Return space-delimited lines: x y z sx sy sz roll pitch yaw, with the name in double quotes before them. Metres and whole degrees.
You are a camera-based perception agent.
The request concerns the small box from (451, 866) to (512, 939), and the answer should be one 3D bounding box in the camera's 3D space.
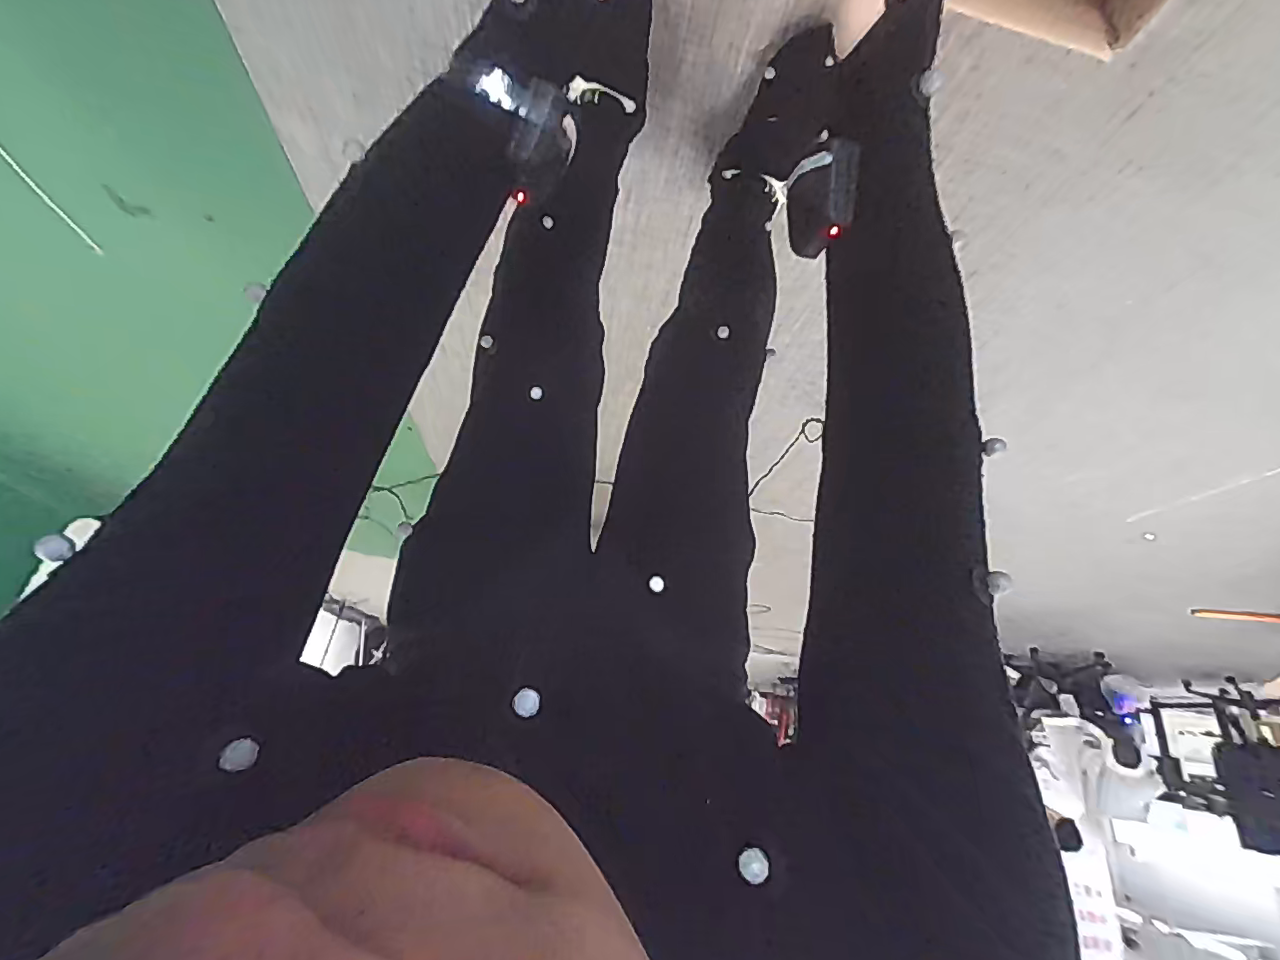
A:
"small box" -0.569 1.525 1.966 0.168 0.176 0.179 11 156 -5
